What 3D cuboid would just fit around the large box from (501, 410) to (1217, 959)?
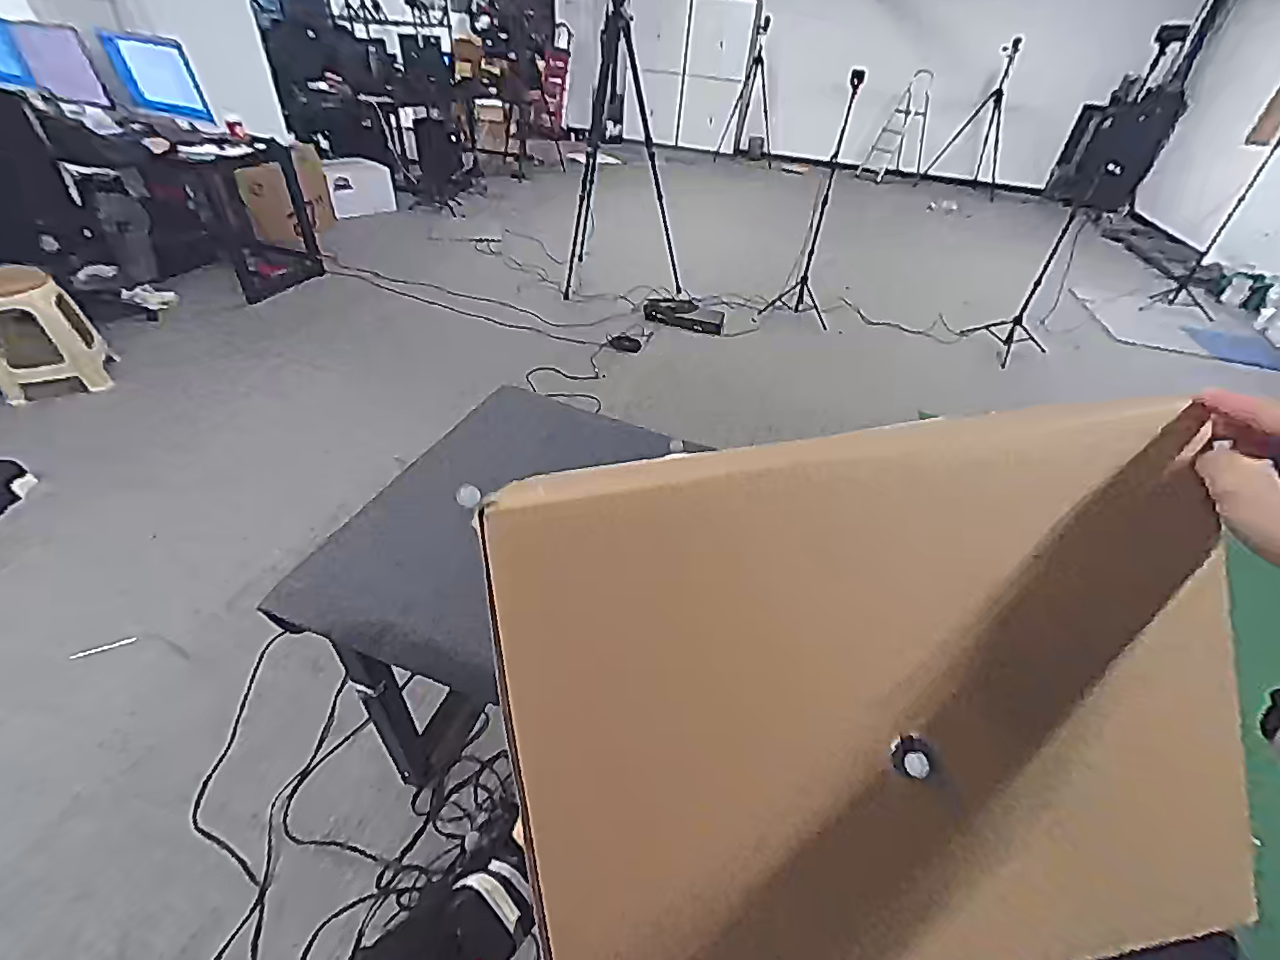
[{"bbox_3d":[0.132,0.135,0.452,0.408,0.320,0.320,-10,3,-6],"label":"large box"}]
